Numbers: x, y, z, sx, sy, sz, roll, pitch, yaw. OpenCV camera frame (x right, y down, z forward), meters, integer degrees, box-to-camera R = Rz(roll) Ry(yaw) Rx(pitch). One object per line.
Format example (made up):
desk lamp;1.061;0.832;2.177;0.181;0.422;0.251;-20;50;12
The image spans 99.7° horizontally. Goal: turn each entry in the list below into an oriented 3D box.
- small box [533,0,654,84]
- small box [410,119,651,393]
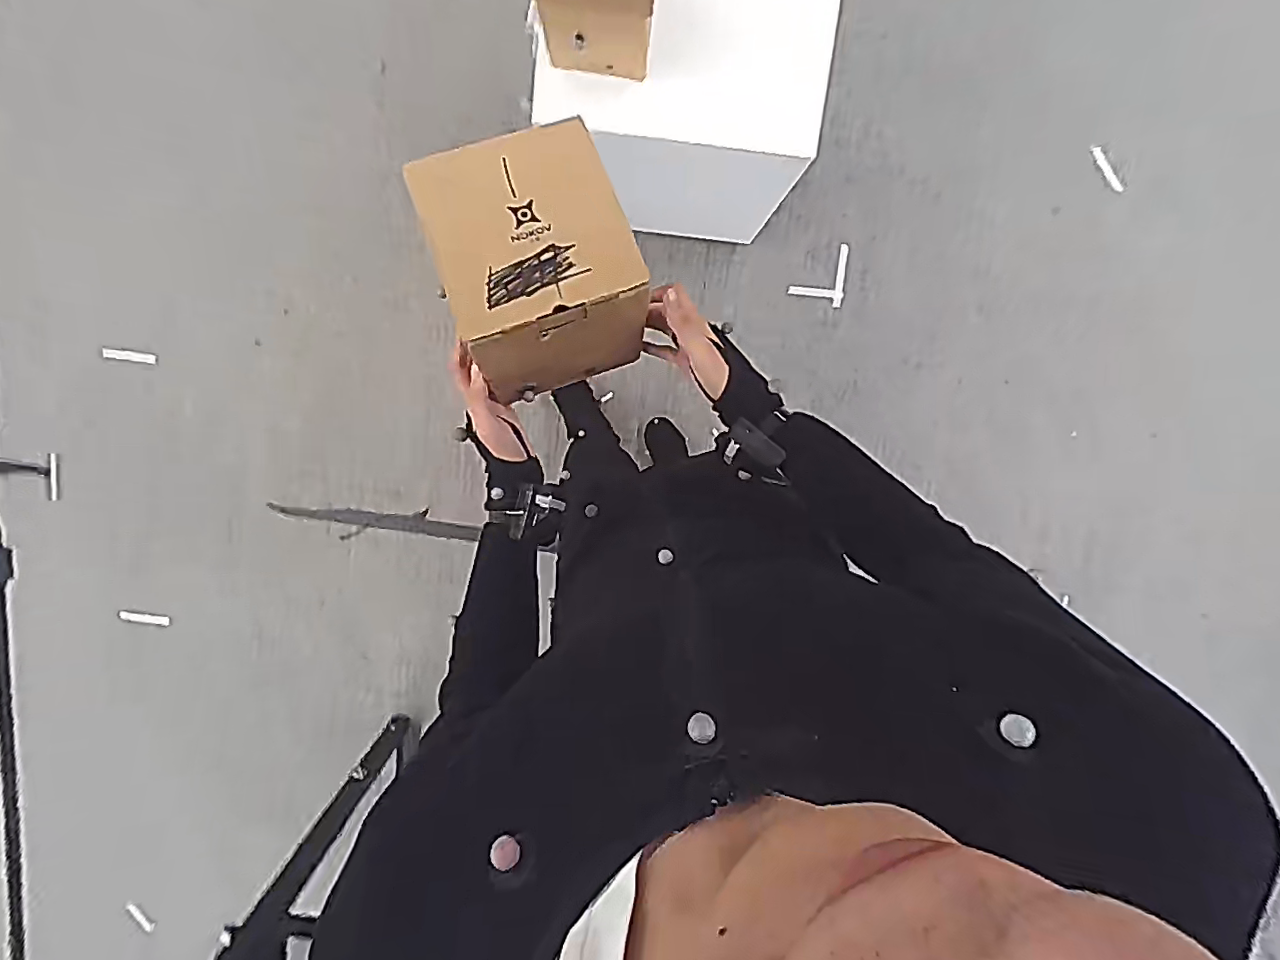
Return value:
small box;-0.064;-0.764;0.845;0.168;0.176;0.179;7;98;-2
small box;-0.097;-0.201;0.536;0.168;0.176;0.179;-19;82;-7
